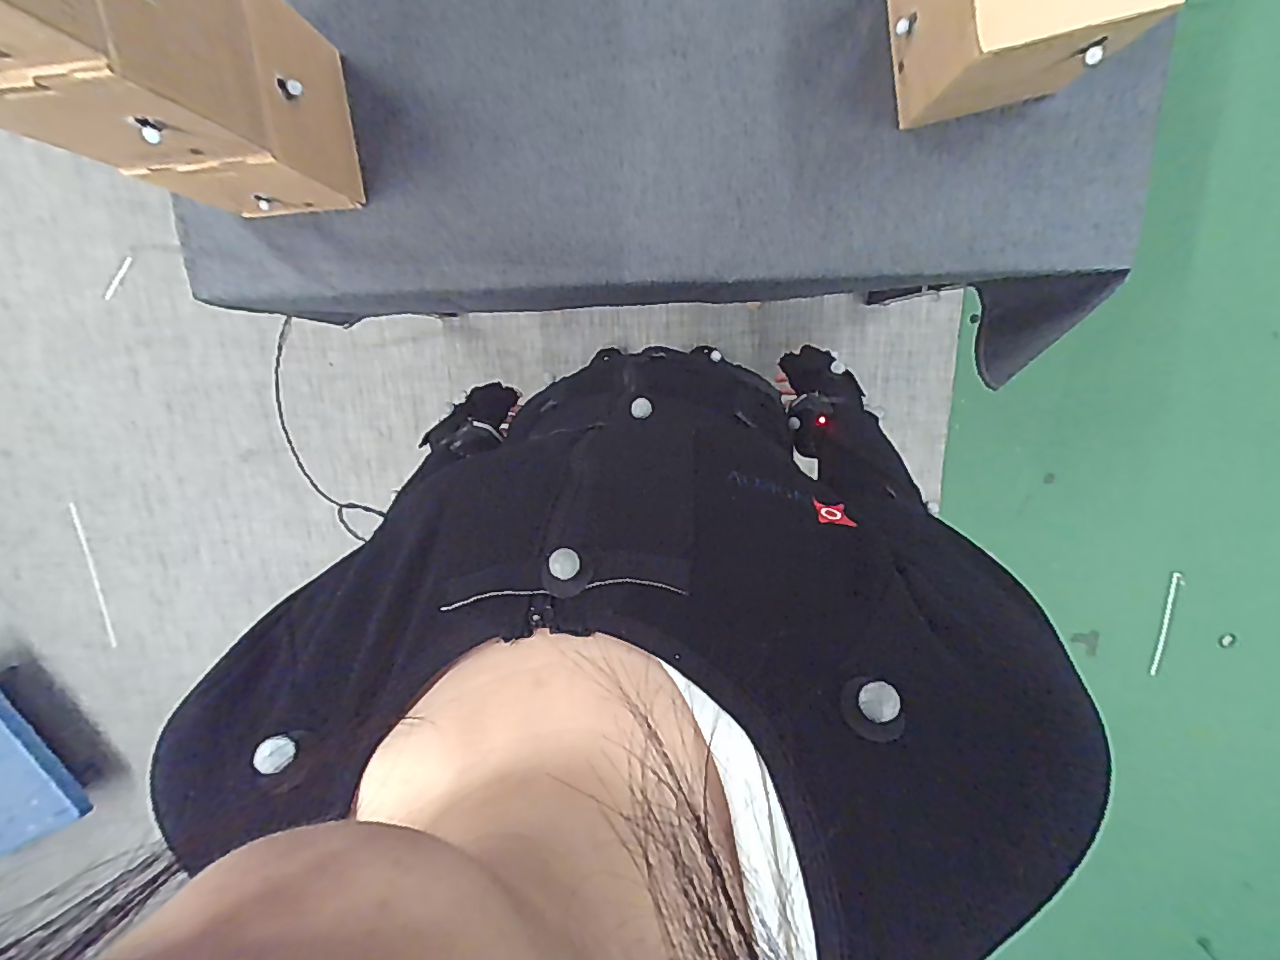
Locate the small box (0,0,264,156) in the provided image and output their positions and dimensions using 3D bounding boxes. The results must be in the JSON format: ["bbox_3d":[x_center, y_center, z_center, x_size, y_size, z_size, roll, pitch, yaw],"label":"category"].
[{"bbox_3d":[-0.445,-0.379,0.432,0.168,0.176,0.179,-3,103,2],"label":"small box"}]

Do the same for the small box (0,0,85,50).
[{"bbox_3d":[-0.452,-0.348,0.271,0.168,0.176,0.179,-4,103,2],"label":"small box"}]

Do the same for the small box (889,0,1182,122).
[{"bbox_3d":[0.370,-0.489,0.530,0.179,0.176,0.168,-11,102,6],"label":"small box"}]

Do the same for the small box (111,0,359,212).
[{"bbox_3d":[-0.440,-0.414,0.591,0.168,0.176,0.179,-3,104,3],"label":"small box"}]
